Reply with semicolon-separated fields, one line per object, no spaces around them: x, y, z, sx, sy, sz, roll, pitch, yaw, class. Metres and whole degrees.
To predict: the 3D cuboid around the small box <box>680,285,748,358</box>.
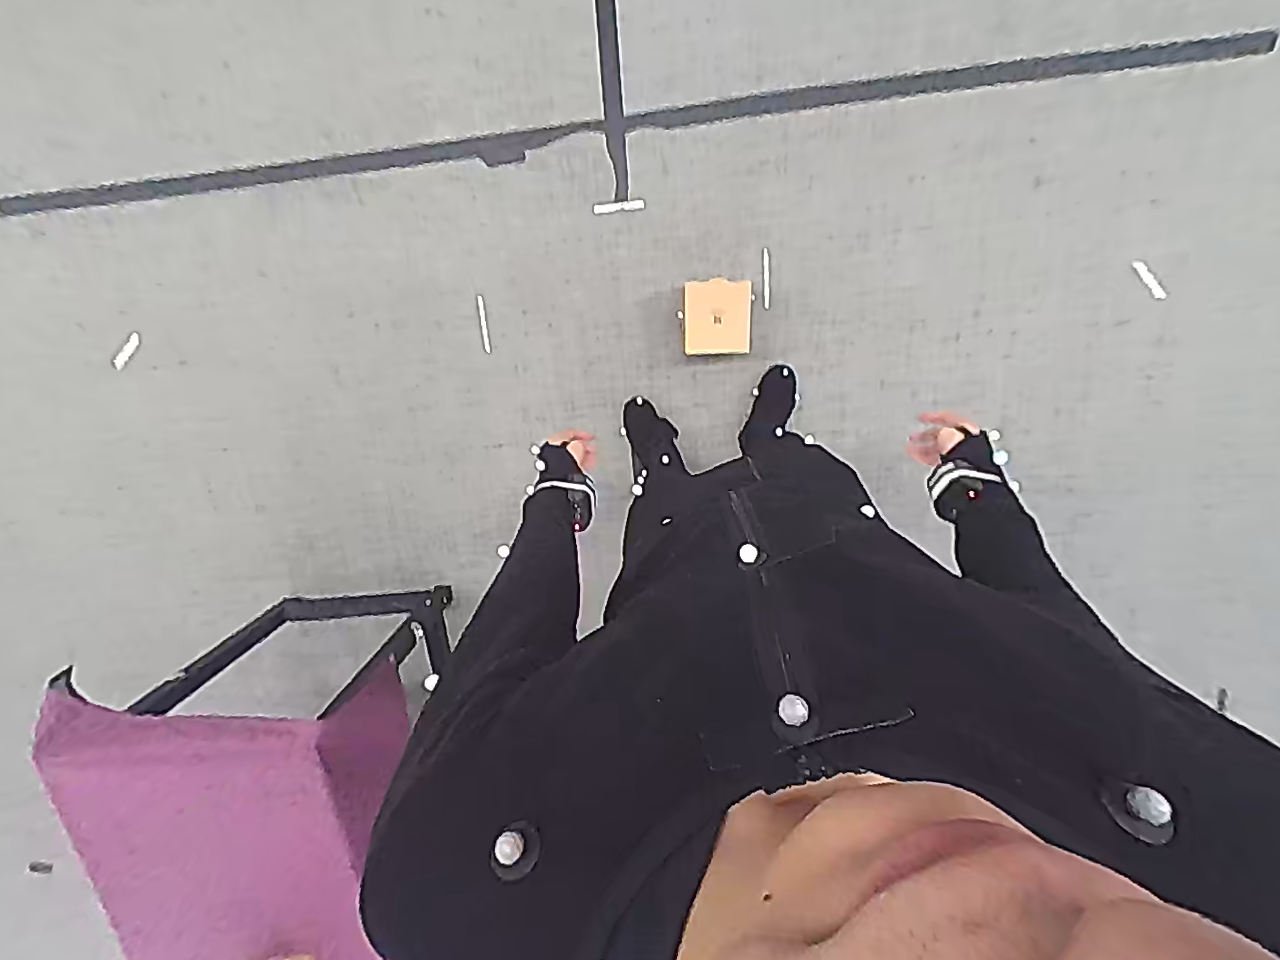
0.193;-0.420;1.441;0.168;0.176;0.179;-1;105;2;small box
